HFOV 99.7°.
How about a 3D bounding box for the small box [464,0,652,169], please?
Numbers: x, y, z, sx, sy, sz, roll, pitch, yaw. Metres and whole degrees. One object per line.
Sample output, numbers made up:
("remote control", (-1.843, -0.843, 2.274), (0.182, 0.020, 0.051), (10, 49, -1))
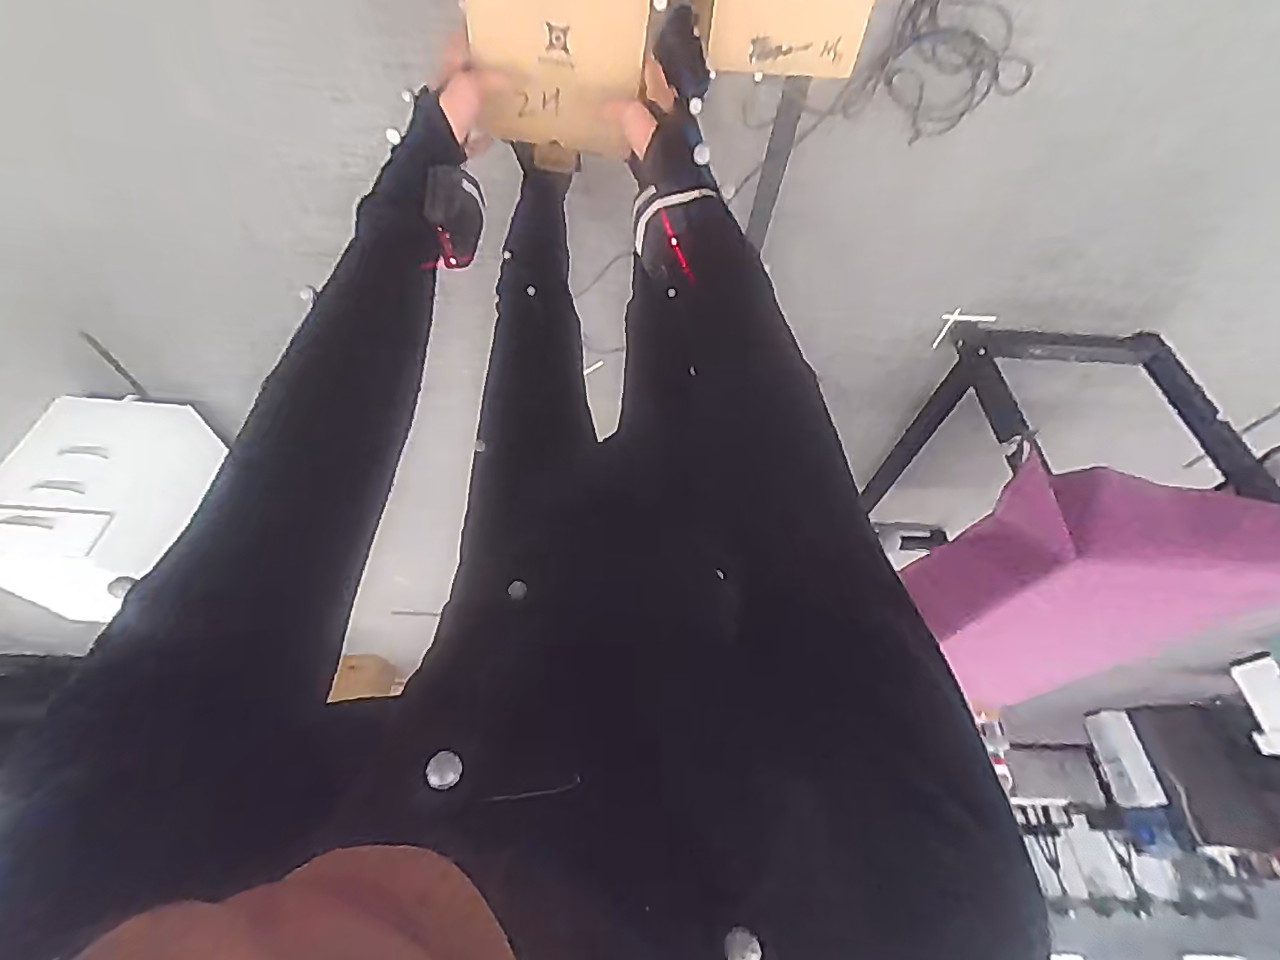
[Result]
("small box", (-0.078, -0.457, 0.553), (0.168, 0.176, 0.179), (6, 143, -6))

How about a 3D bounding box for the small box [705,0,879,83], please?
("small box", (0.162, -0.560, 0.575), (0.168, 0.176, 0.179), (4, 144, 0))
